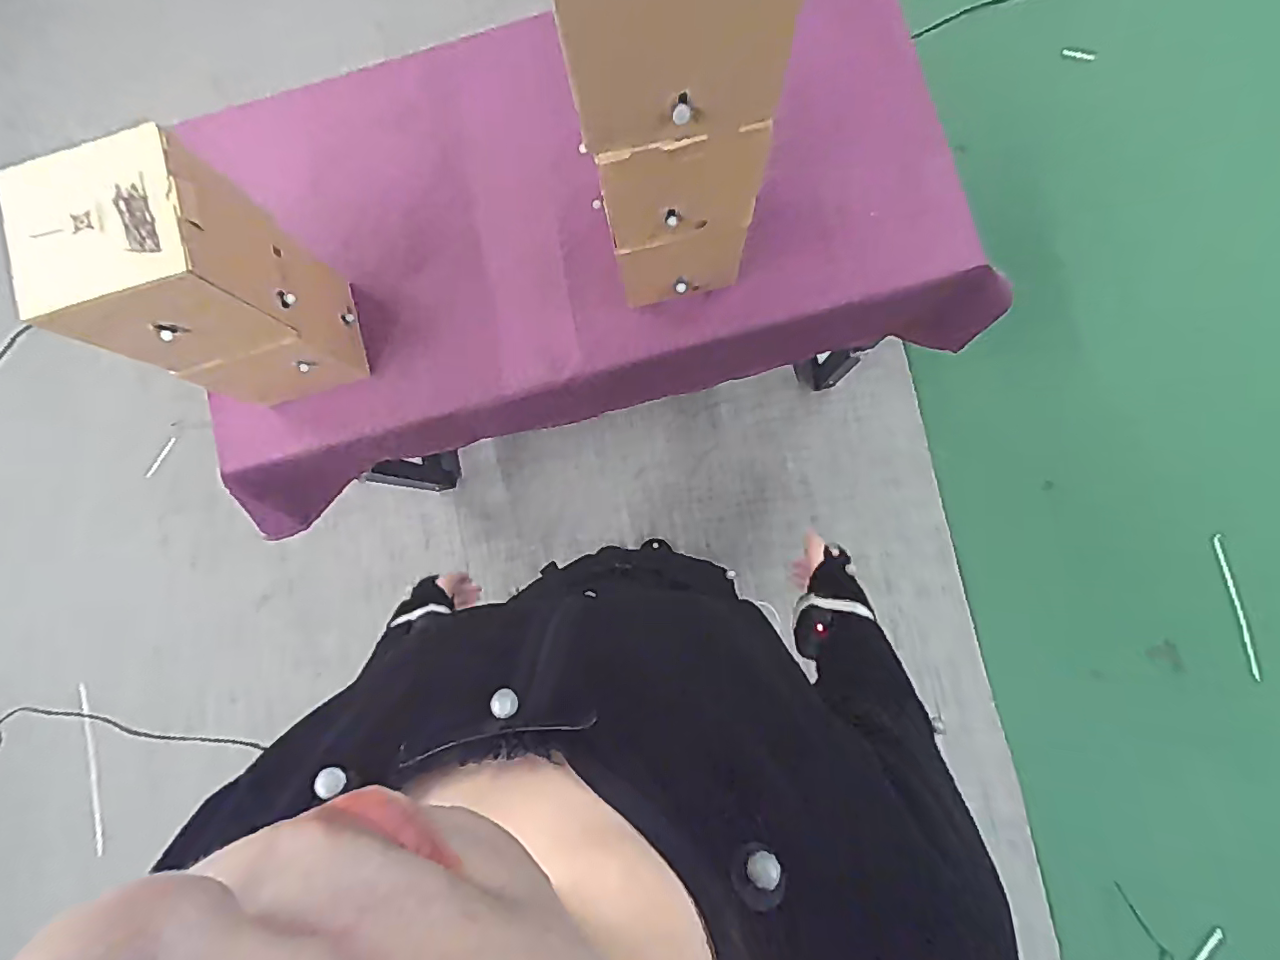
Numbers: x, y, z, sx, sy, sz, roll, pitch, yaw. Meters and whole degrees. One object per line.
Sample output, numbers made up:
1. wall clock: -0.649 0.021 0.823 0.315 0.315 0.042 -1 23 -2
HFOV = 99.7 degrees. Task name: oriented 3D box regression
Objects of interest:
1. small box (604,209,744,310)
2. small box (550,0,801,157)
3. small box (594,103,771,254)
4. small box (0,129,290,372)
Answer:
1. small box: 0.037 -0.363 0.749 0.168 0.176 0.179 -12 84 3
2. small box: 0.018 -0.392 0.423 0.179 0.176 0.168 -10 84 2
3. small box: 0.029 -0.380 0.587 0.168 0.176 0.179 -12 85 2
4. small box: -0.530 -0.239 0.607 0.179 0.176 0.168 -16 84 2
